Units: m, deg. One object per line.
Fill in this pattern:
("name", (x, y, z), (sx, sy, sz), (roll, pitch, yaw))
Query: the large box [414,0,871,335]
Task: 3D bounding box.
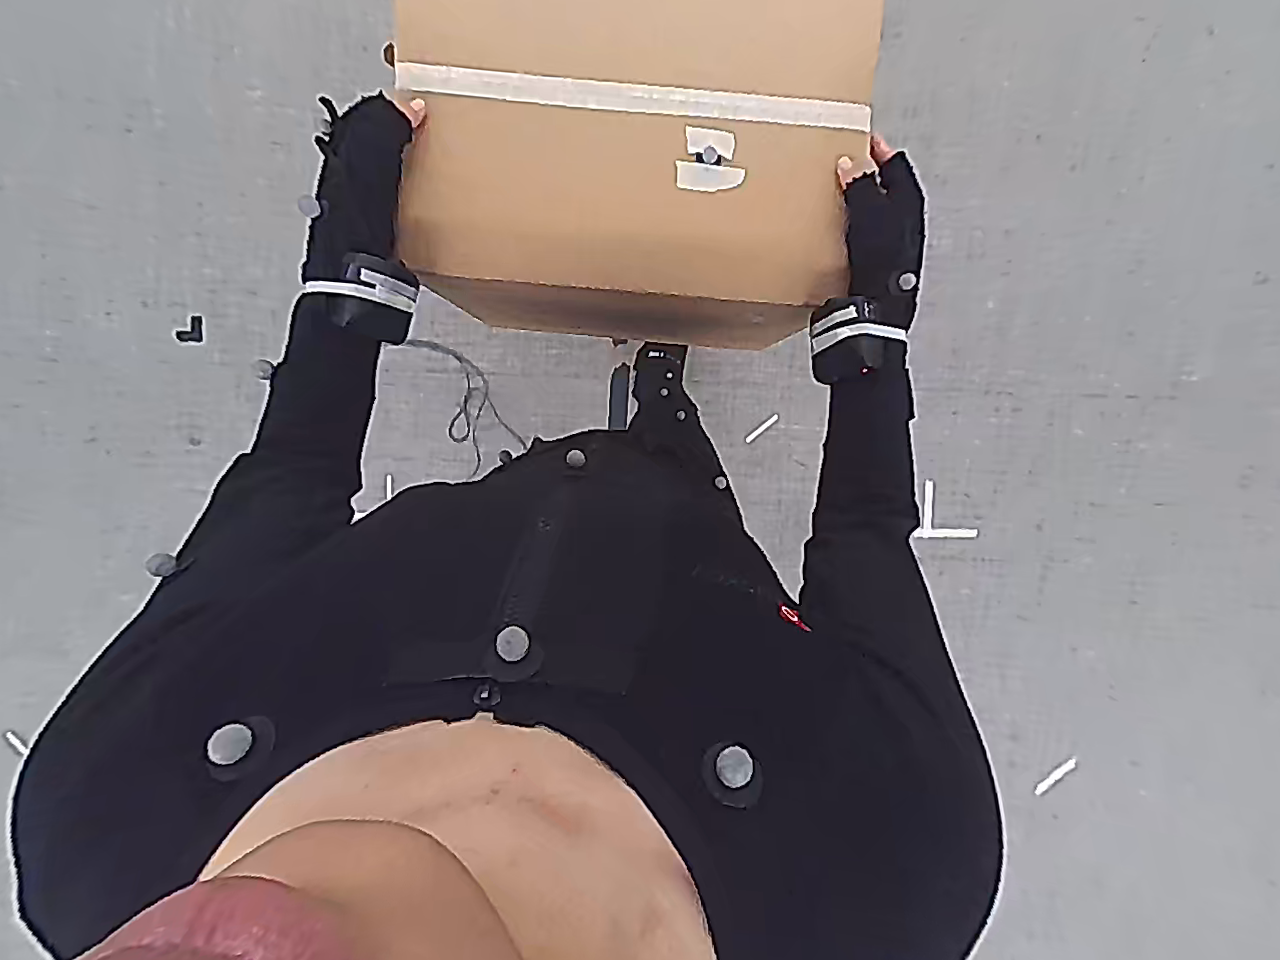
("large box", (-0.006, -0.358, 0.628), (0.408, 0.320, 0.320), (4, 98, -3))
